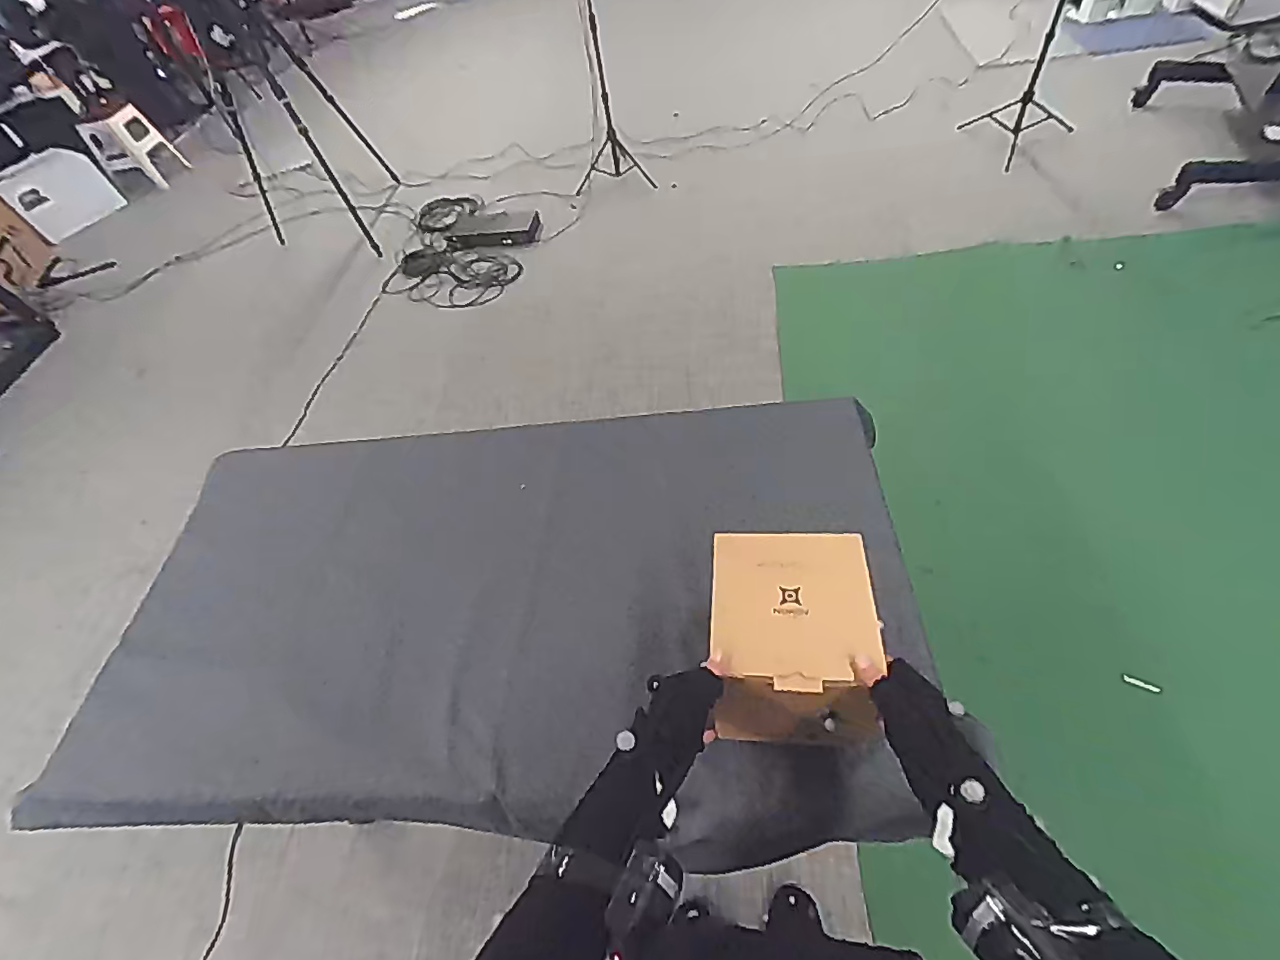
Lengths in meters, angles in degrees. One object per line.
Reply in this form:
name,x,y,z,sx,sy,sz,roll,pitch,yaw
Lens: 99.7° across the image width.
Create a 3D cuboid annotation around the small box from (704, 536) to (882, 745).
small box,0.163,0.184,0.619,0.168,0.176,0.179,-1,44,10
